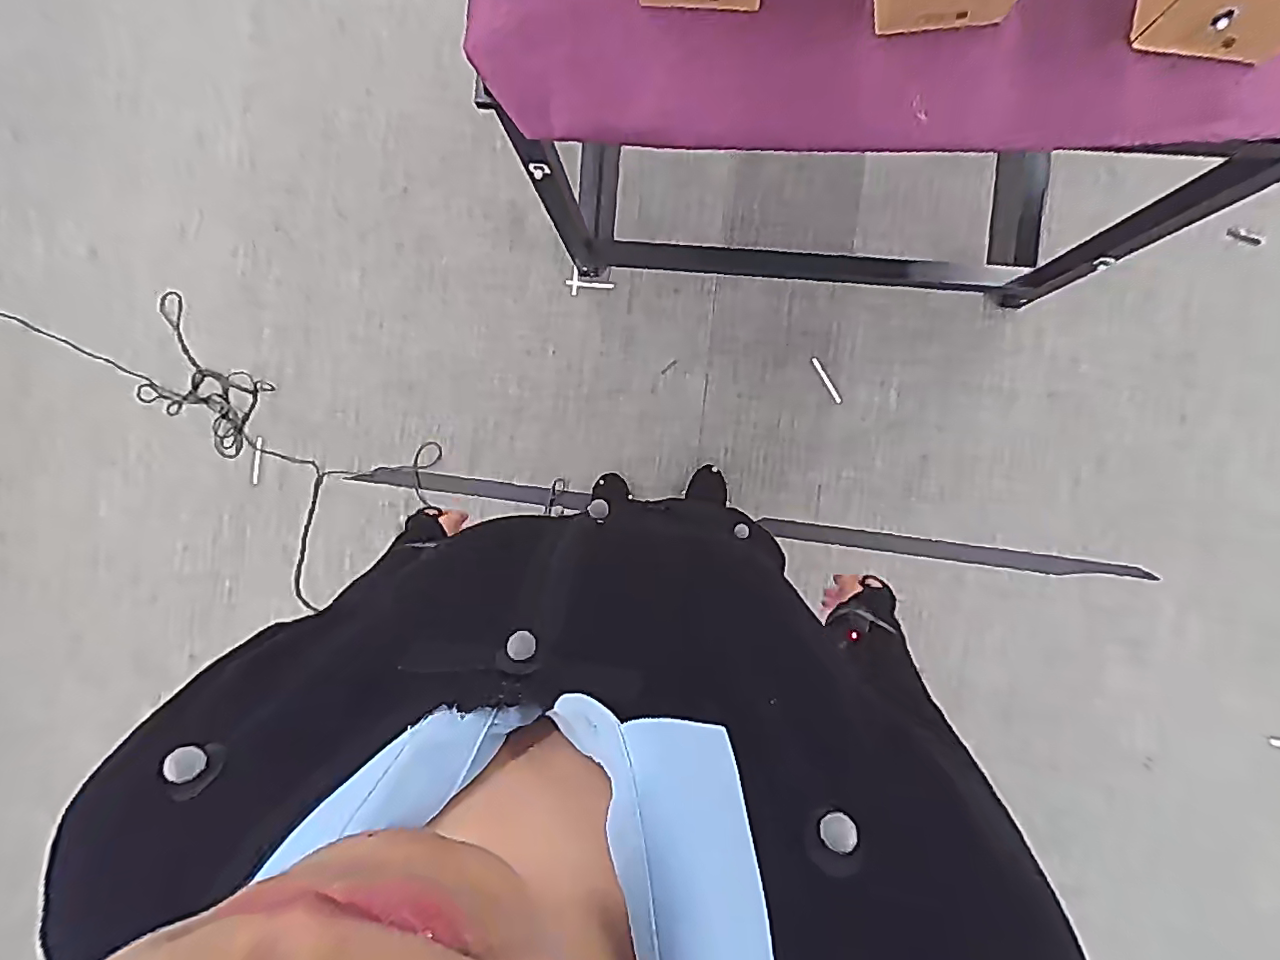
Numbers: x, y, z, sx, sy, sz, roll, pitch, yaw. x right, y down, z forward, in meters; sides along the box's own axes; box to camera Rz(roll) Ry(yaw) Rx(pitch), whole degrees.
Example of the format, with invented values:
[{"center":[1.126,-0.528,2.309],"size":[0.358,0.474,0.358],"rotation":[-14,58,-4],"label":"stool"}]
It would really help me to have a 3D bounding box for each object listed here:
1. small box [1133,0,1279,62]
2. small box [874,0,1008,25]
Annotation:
[{"center":[0.732,-0.642,0.627],"size":[0.168,0.176,0.179],"rotation":[10,90,4],"label":"small box"},{"center":[0.390,-0.692,0.647],"size":[0.168,0.176,0.179],"rotation":[-3,90,3],"label":"small box"}]
